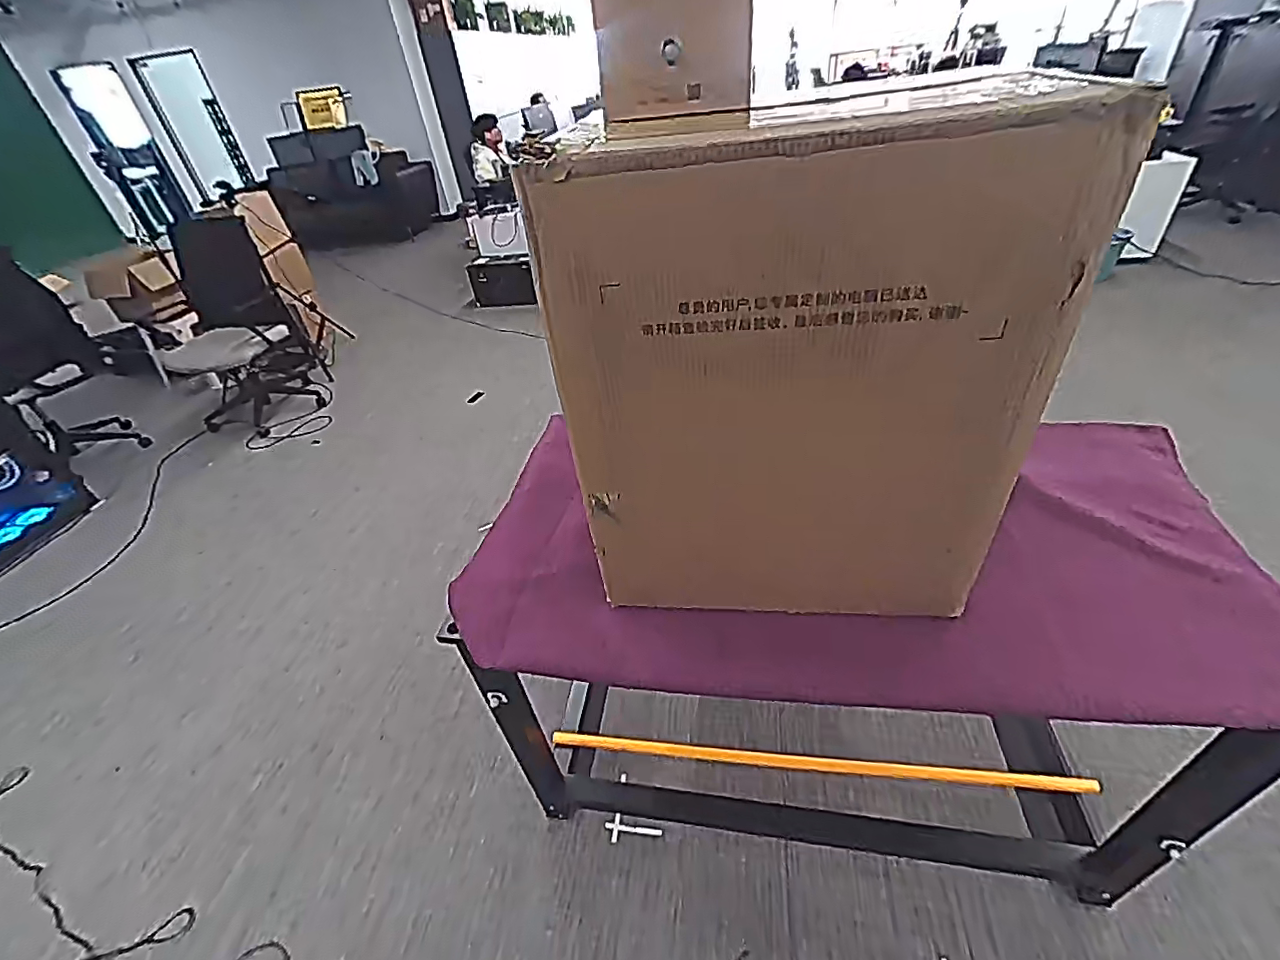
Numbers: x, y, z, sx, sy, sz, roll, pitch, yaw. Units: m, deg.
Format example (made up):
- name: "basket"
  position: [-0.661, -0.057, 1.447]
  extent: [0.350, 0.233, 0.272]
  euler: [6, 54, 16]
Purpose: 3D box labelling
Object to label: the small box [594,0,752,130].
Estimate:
- name: "small box"
  position: [0.044, -0.515, 0.626]
  extent: [0.168, 0.176, 0.179]
  euler: [0, 38, 10]
